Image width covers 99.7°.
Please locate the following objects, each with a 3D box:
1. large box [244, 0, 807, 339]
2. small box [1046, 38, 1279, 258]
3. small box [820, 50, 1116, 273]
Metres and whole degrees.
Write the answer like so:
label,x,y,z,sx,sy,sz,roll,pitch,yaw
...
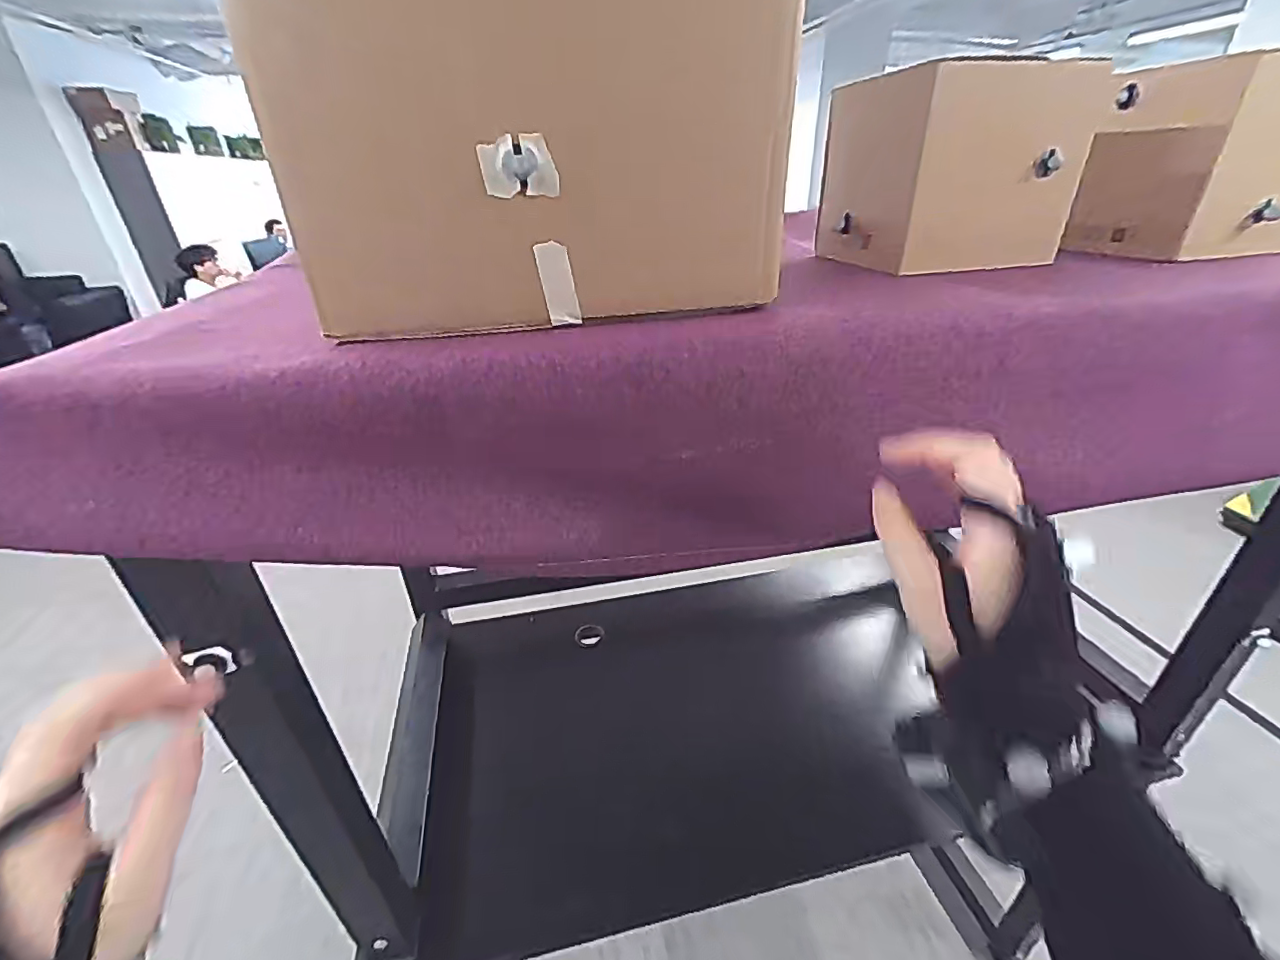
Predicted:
label,x,y,z,sx,sy,sz,roll,pitch,yaw
large box,-0.093,-0.327,0.461,0.320,0.320,0.408,-7,29,-11
small box,0.573,-0.334,0.564,0.179,0.176,0.168,-8,29,-12
small box,0.306,-0.313,0.549,0.179,0.176,0.168,-8,29,-10
